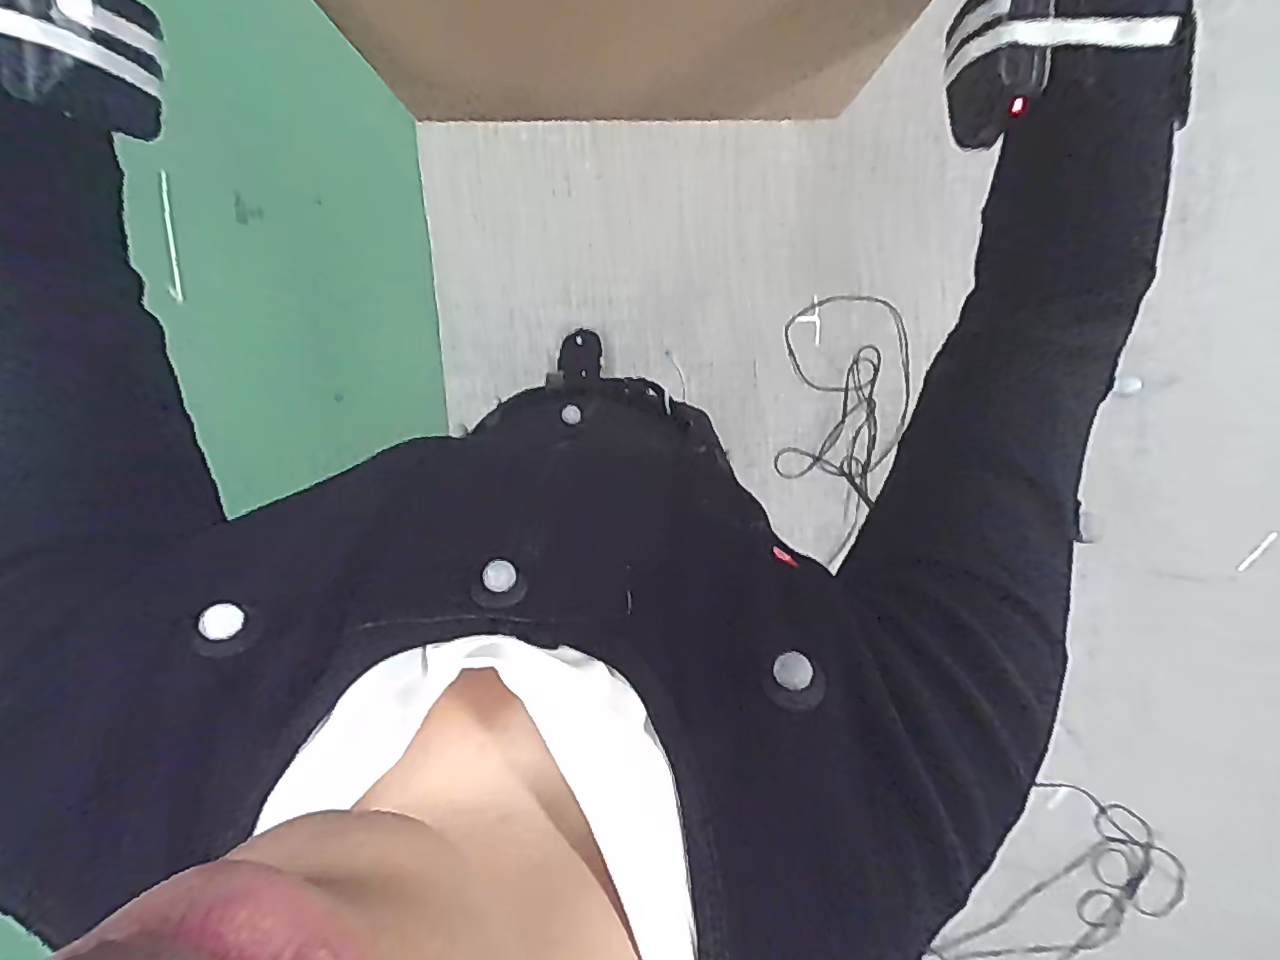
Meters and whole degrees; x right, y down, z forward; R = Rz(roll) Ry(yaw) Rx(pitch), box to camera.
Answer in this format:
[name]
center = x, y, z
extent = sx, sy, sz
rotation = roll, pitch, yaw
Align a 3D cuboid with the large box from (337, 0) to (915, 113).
[large box]
center = -0.010, -0.469, 0.338
extent = 0.408, 0.320, 0.320
rotation = -1, 102, -2
